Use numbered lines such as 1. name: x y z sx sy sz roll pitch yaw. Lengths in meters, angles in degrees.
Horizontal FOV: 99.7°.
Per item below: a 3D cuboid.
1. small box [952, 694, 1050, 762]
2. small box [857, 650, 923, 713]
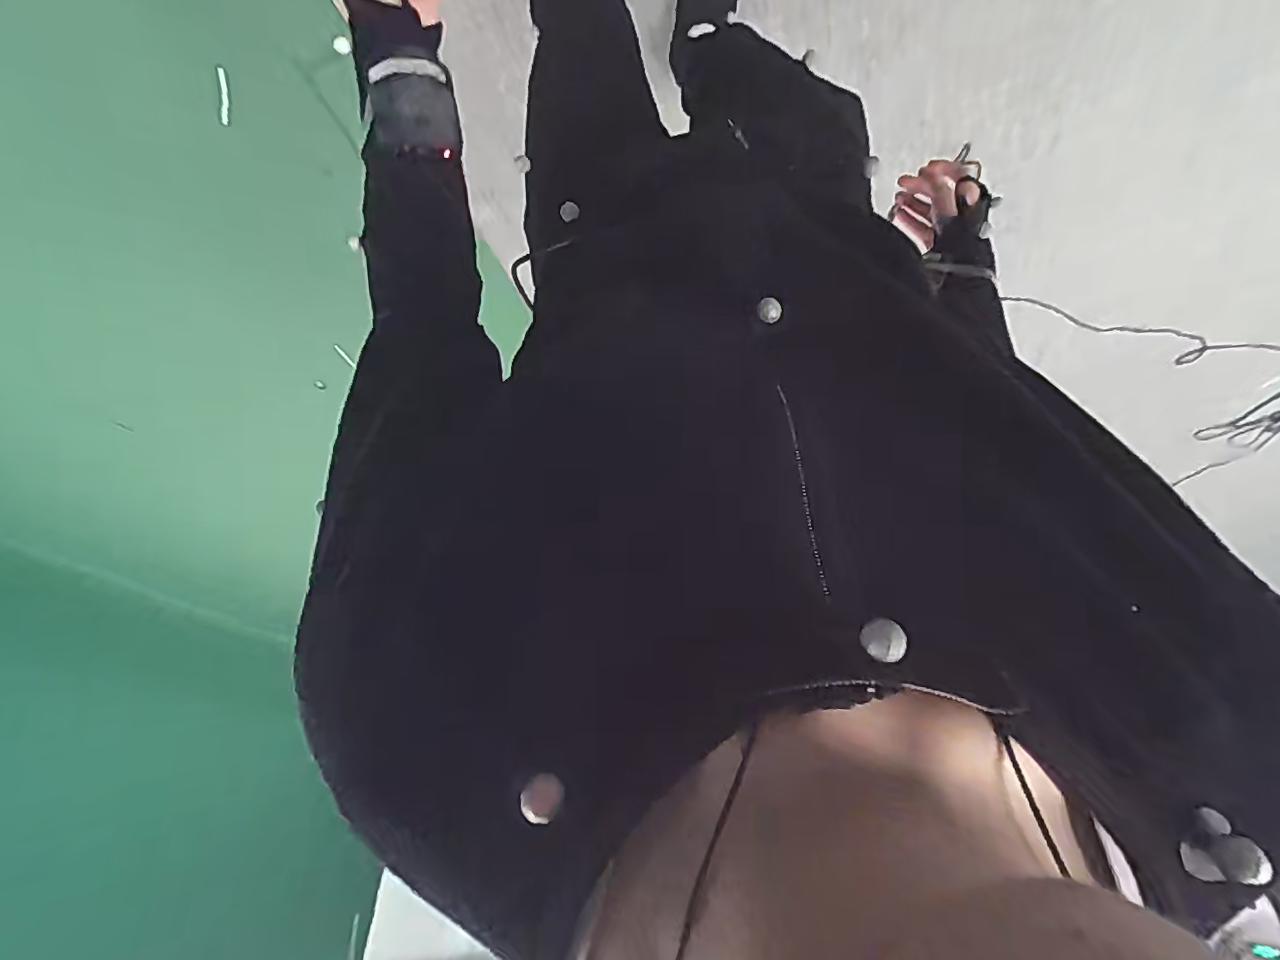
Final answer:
1. small box: 1.120 0.775 1.688 0.168 0.176 0.179 22 141 -28
2. small box: 0.856 0.697 1.867 0.168 0.176 0.179 -11 144 14
